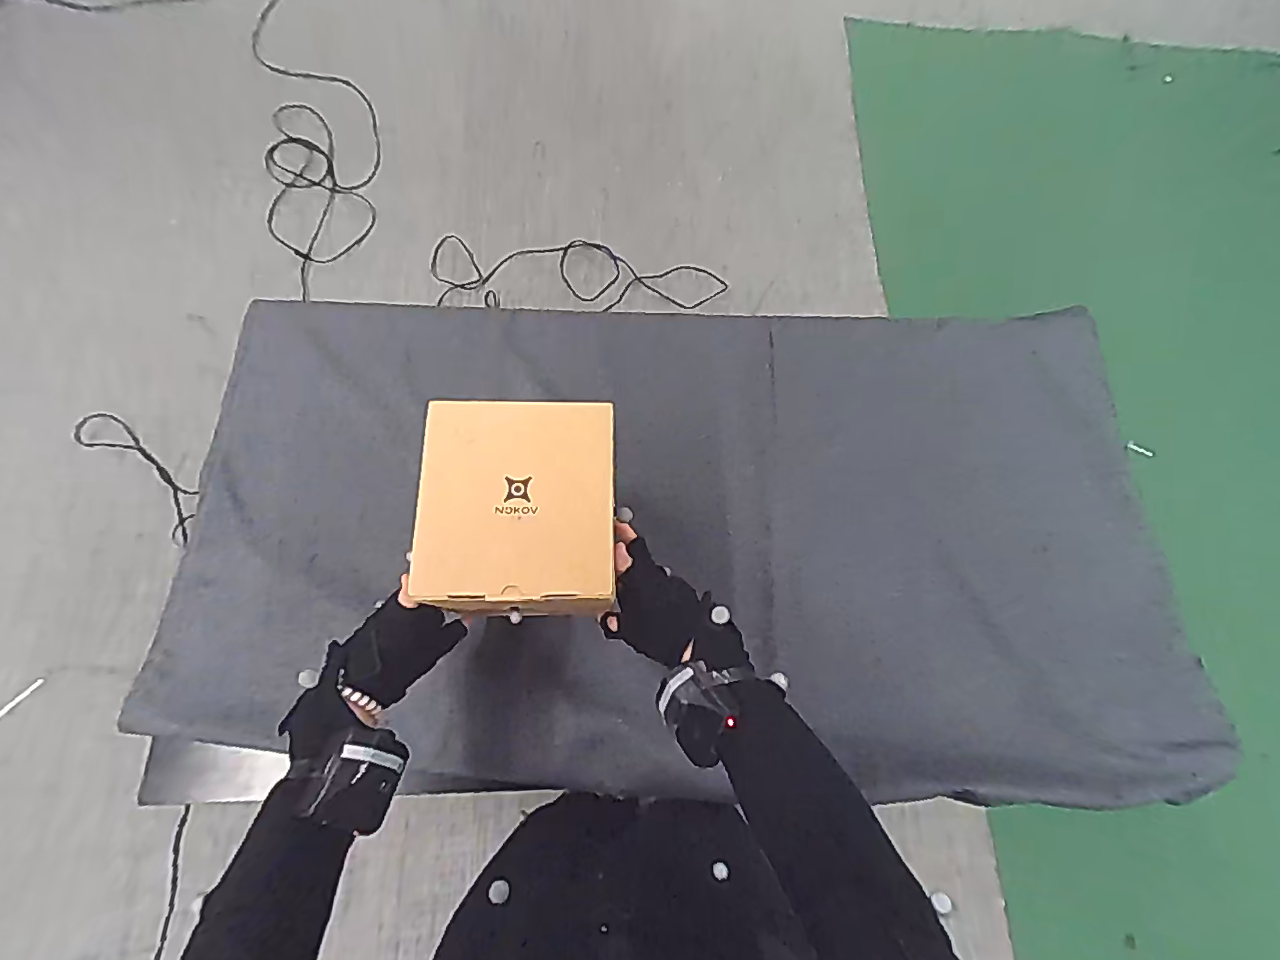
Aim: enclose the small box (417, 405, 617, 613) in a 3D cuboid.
[{"bbox_3d":[-0.110,0.040,0.550,0.168,0.176,0.179,1,73,-4],"label":"small box"}]
